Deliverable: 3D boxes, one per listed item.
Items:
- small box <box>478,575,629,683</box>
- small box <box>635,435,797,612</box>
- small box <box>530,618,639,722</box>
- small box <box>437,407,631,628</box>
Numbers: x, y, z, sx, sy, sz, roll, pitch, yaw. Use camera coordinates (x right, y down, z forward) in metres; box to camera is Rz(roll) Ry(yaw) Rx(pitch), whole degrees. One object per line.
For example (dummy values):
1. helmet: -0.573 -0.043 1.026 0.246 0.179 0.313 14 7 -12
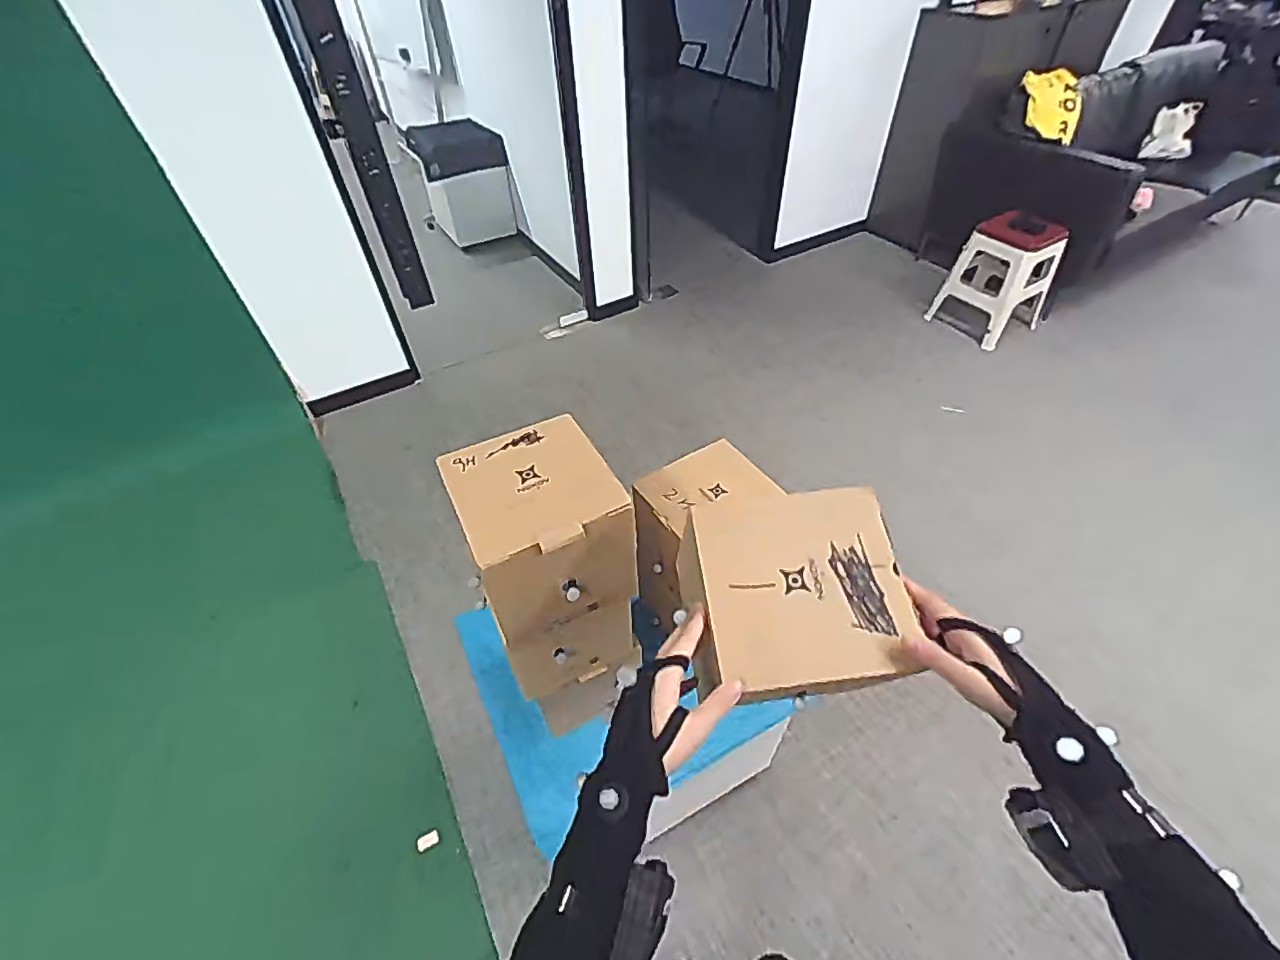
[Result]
1. small box: -0.123 0.157 0.755 0.168 0.176 0.179 -20 48 -17
2. small box: 0.107 0.067 0.826 0.179 0.176 0.168 -25 51 -18
3. small box: -0.109 0.265 0.876 0.168 0.176 0.179 -21 49 -19
4. small box: -0.116 0.049 0.632 0.168 0.176 0.179 -20 49 -18
